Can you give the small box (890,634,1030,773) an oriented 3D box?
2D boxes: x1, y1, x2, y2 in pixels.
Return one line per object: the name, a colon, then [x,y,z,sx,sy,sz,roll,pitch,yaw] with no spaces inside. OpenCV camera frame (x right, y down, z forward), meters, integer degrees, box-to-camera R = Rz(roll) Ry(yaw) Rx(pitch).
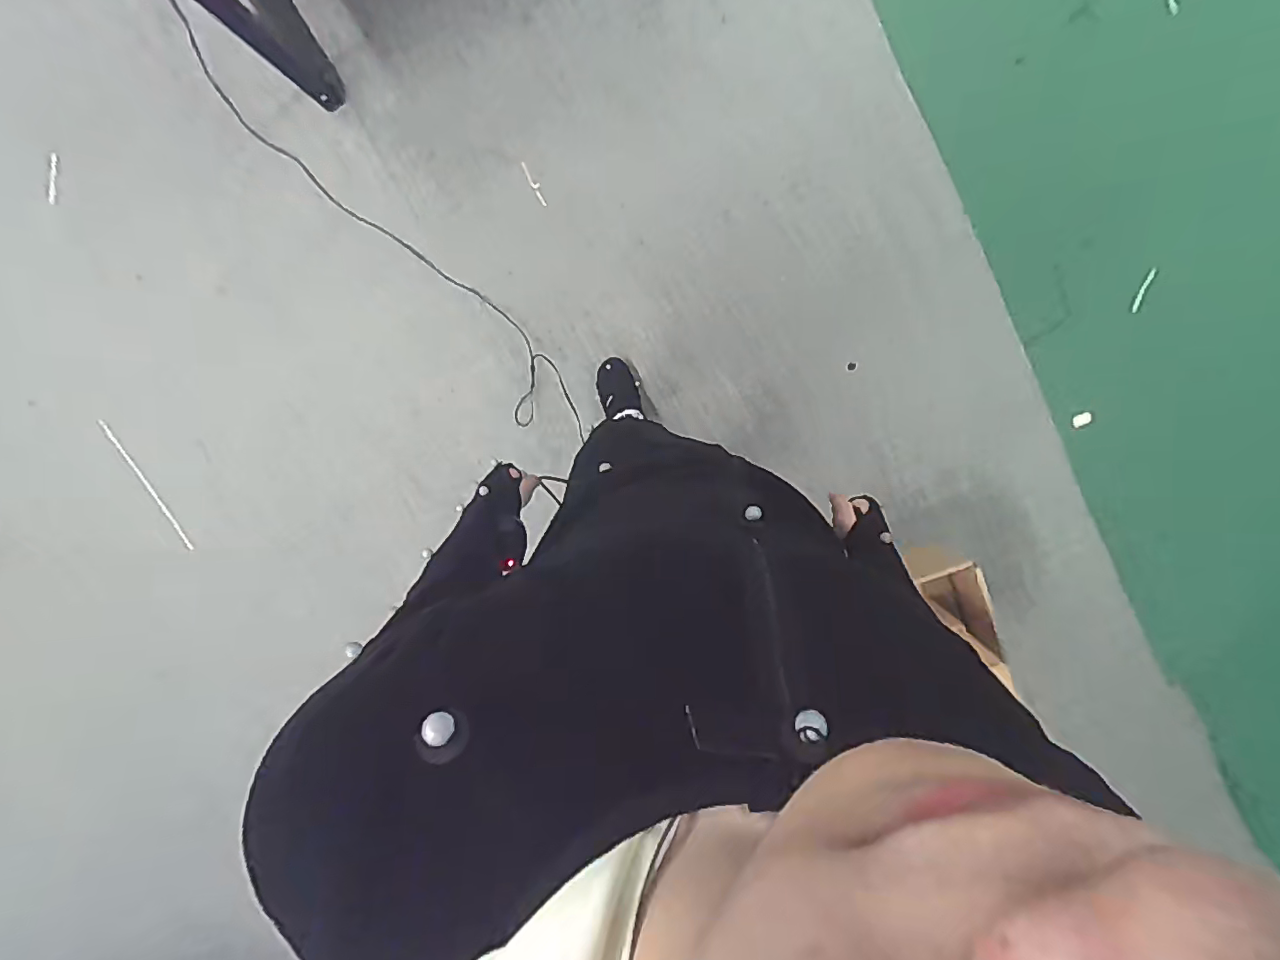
small box: [0.633,0.441,1.087,0.168,0.176,0.179,-19,98,6]
